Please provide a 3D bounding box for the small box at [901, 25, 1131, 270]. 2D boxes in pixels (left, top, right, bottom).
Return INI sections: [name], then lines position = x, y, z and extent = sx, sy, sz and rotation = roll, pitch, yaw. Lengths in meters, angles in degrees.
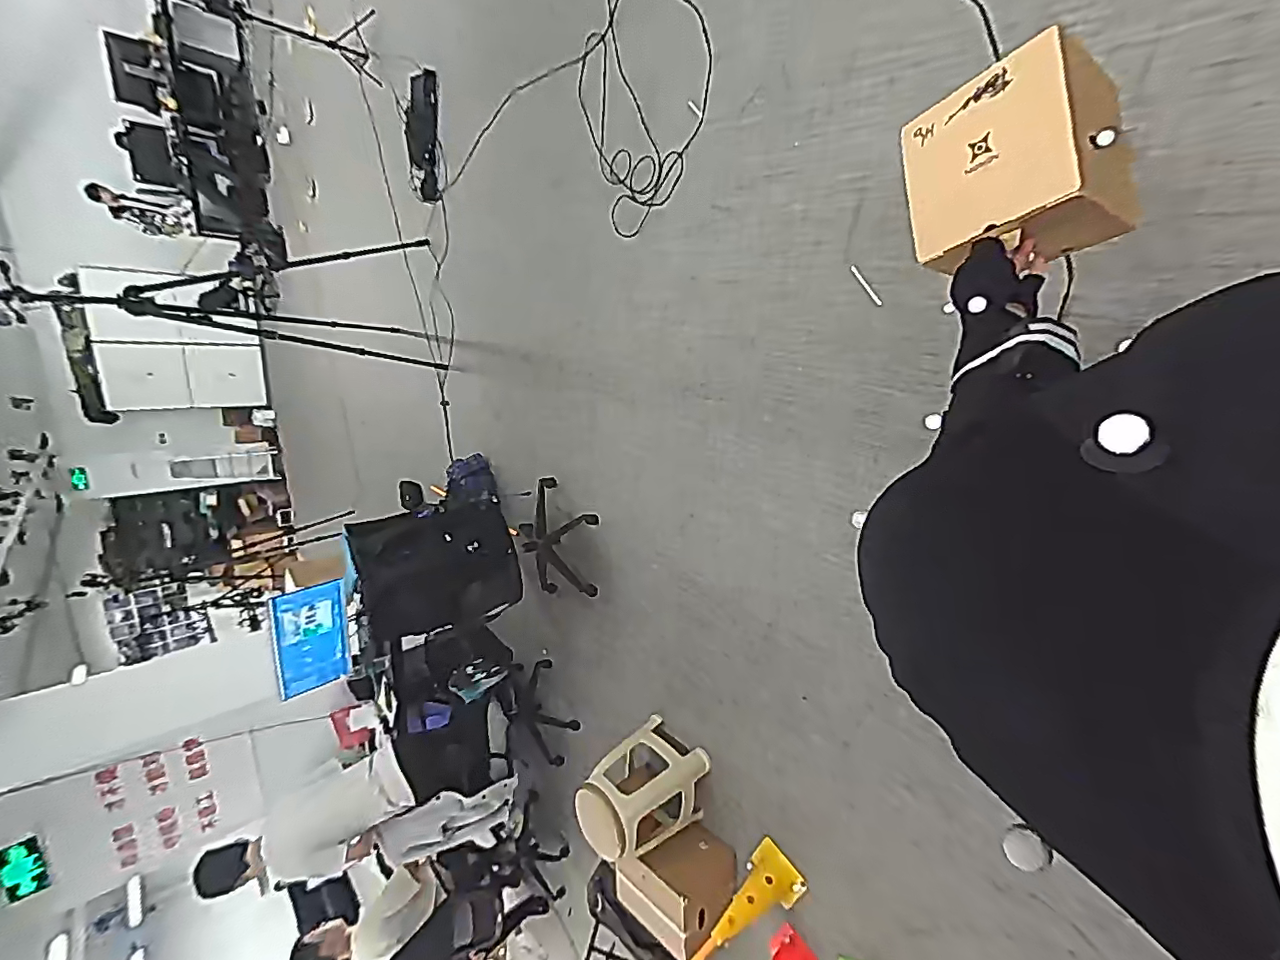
[small box]
position = 0.442, -0.365, 0.639
extent = 0.168, 0.176, 0.179
rotation = -10, 85, 56
